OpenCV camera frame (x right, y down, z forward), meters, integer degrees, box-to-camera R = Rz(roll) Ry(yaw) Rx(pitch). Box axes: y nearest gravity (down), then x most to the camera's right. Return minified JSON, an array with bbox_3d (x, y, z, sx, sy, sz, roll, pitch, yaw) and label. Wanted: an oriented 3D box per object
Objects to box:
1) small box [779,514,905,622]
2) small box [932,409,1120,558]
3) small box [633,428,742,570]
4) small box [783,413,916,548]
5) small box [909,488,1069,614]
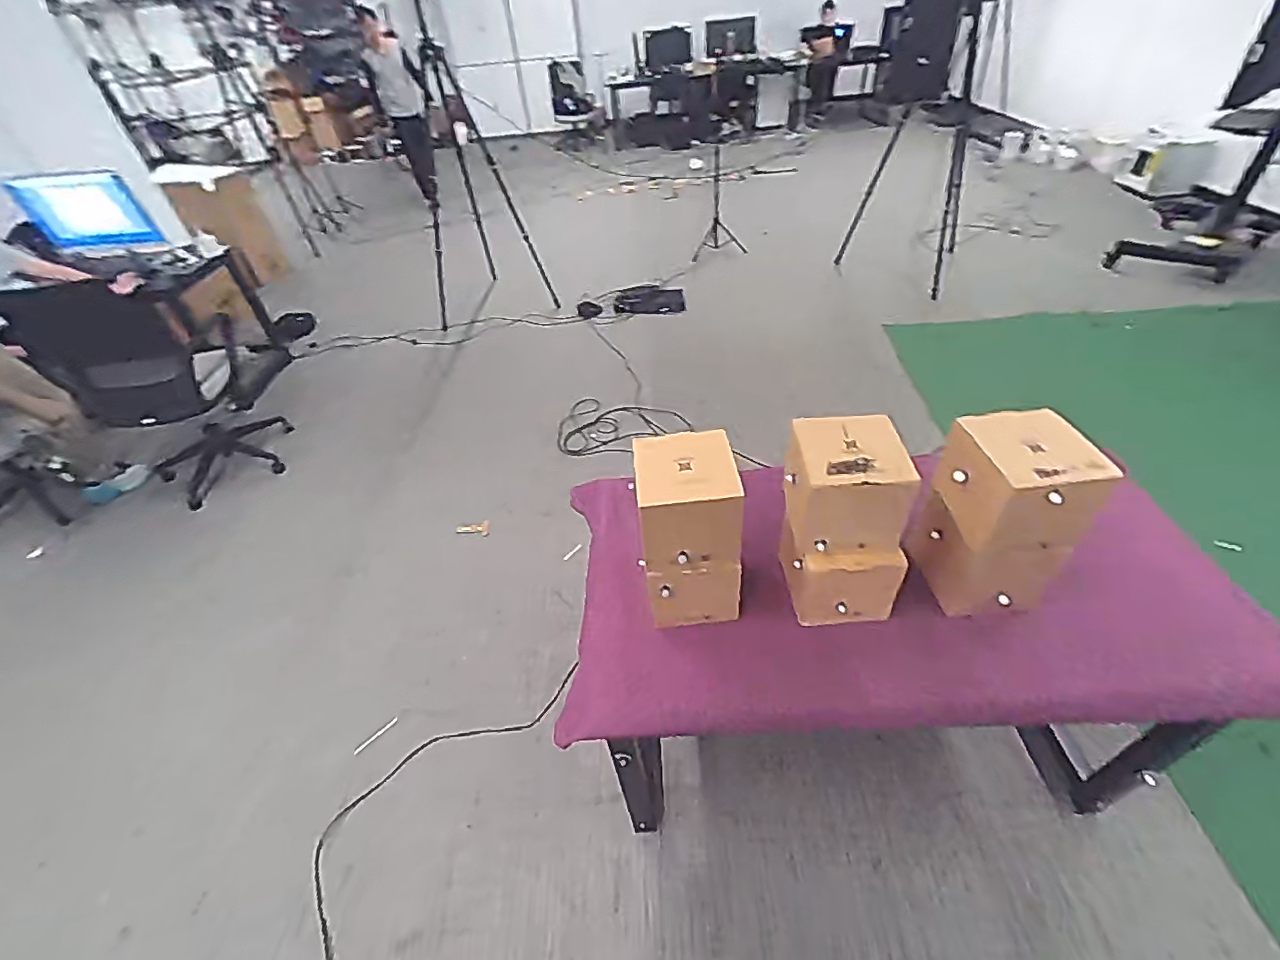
[{"bbox_3d":[0.368,0.146,1.023,0.168,0.176,0.179,-5,43,1],"label":"small box"},{"bbox_3d":[0.620,0.005,0.901,0.168,0.176,0.179,-7,41,0],"label":"small box"},{"bbox_3d":[0.076,0.032,0.934,0.168,0.176,0.179,-6,42,1],"label":"small box"},{"bbox_3d":[0.347,0.005,0.935,0.168,0.176,0.179,-2,42,5],"label":"small box"},{"bbox_3d":[0.632,0.126,1.010,0.168,0.176,0.179,-6,42,1],"label":"small box"}]
